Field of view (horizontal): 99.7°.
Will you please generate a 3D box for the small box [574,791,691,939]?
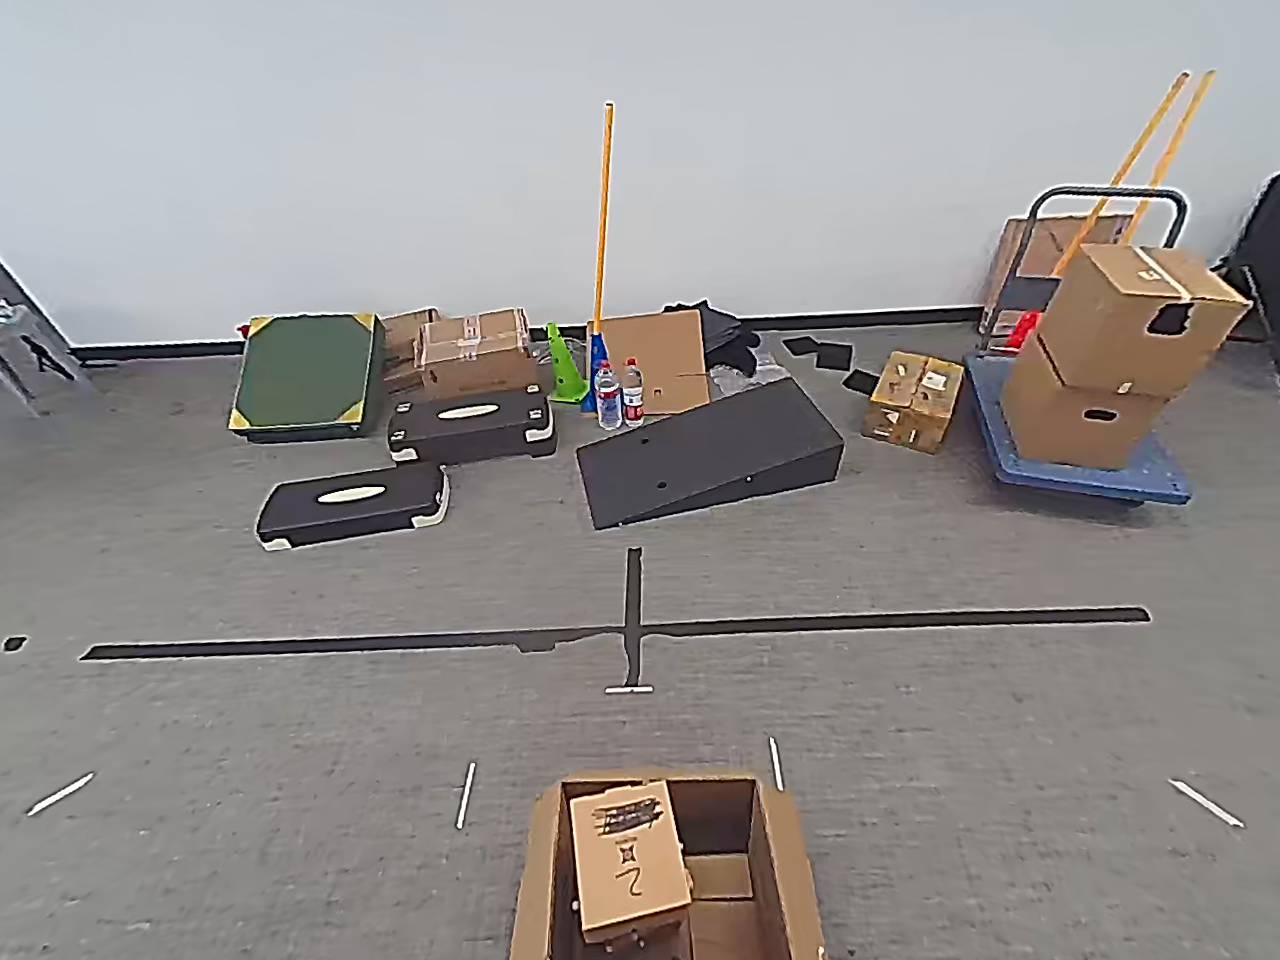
[{"bbox_3d":[-0.017,0.740,1.038,0.179,0.176,0.168,-14,46,-16],"label":"small box"}]
